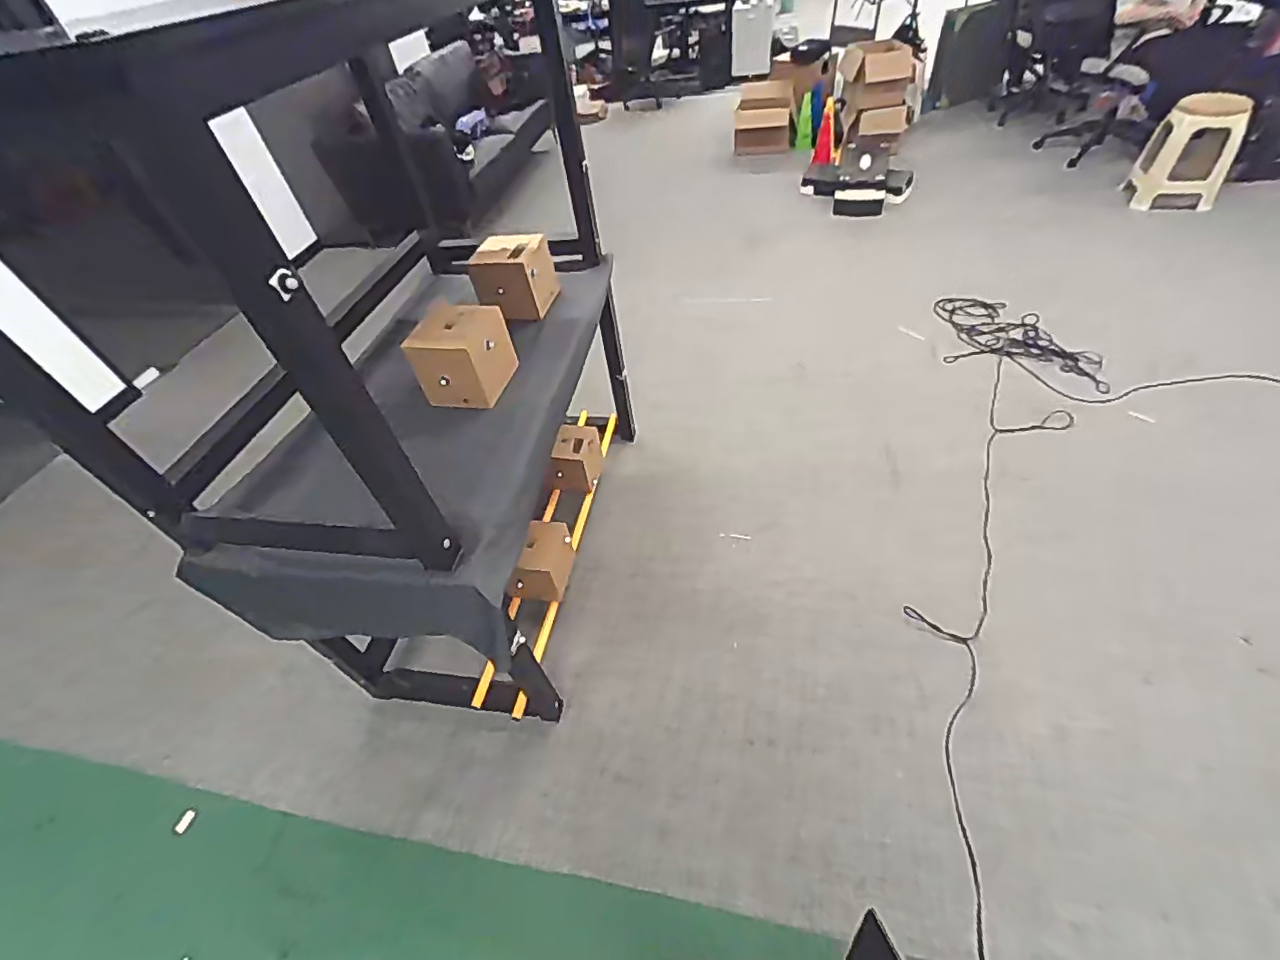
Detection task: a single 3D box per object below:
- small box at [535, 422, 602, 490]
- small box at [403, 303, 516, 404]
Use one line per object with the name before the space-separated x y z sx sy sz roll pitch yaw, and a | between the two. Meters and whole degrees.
small box | -0.242 -0.081 1.896 0.179 0.176 0.168 6 48 14
small box | -0.409 -0.294 1.264 0.168 0.176 0.179 6 48 14
